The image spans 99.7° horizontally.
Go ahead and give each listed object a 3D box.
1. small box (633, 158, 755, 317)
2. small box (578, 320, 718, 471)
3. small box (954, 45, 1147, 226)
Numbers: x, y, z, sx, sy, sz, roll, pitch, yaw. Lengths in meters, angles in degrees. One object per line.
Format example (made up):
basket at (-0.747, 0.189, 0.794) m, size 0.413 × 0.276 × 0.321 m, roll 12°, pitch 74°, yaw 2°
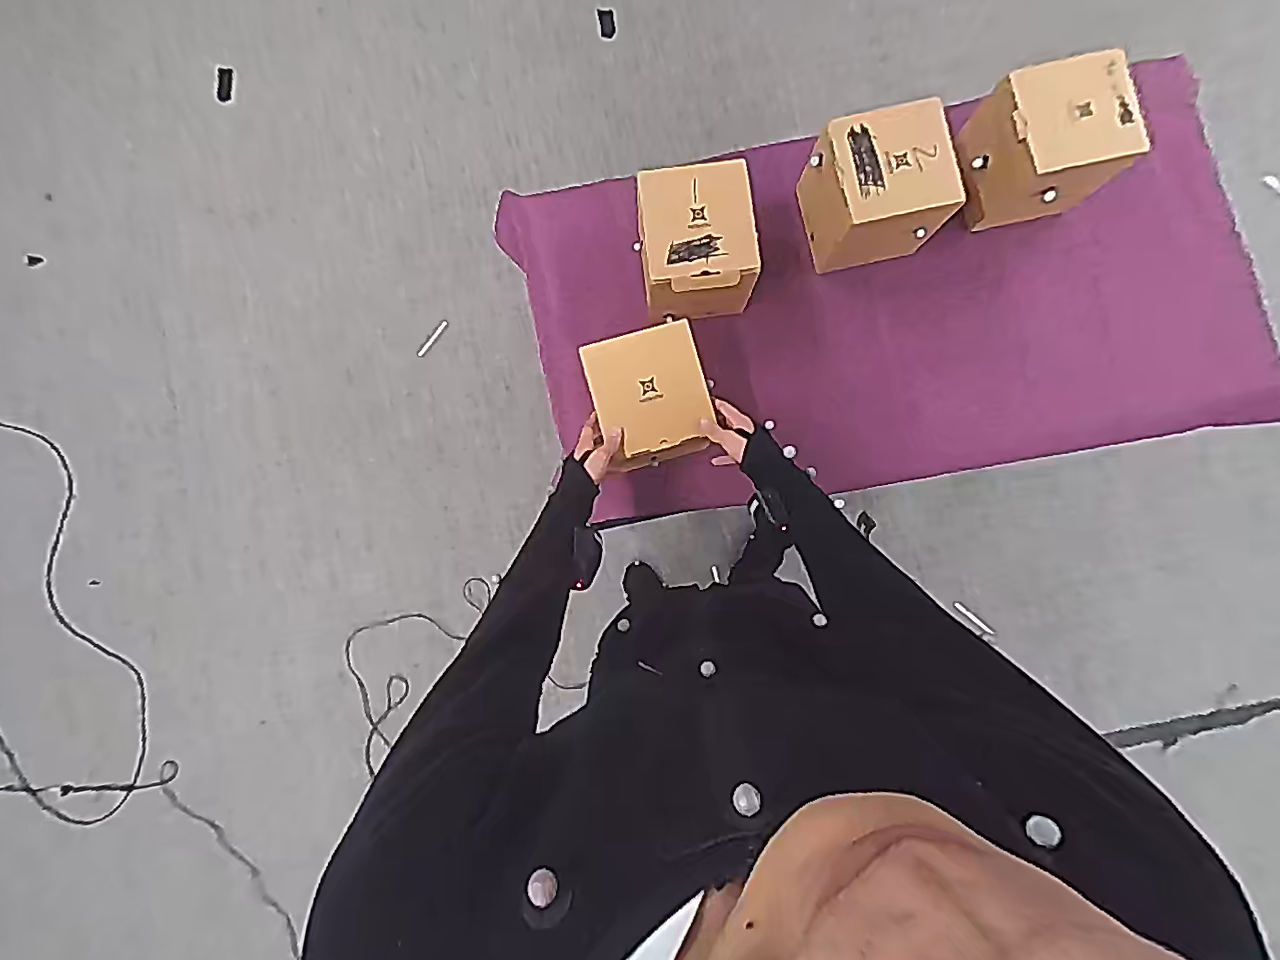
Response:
small box at (0.081, -0.374, 0.870) m, size 0.168 × 0.176 × 0.179 m, roll -7°, pitch 85°, yaw 0°
small box at (0.008, -0.122, 0.849) m, size 0.168 × 0.176 × 0.179 m, roll -16°, pitch 87°, yaw -2°
small box at (0.638, -0.538, 0.870) m, size 0.179 × 0.176 × 0.168 m, roll -12°, pitch 88°, yaw 1°
